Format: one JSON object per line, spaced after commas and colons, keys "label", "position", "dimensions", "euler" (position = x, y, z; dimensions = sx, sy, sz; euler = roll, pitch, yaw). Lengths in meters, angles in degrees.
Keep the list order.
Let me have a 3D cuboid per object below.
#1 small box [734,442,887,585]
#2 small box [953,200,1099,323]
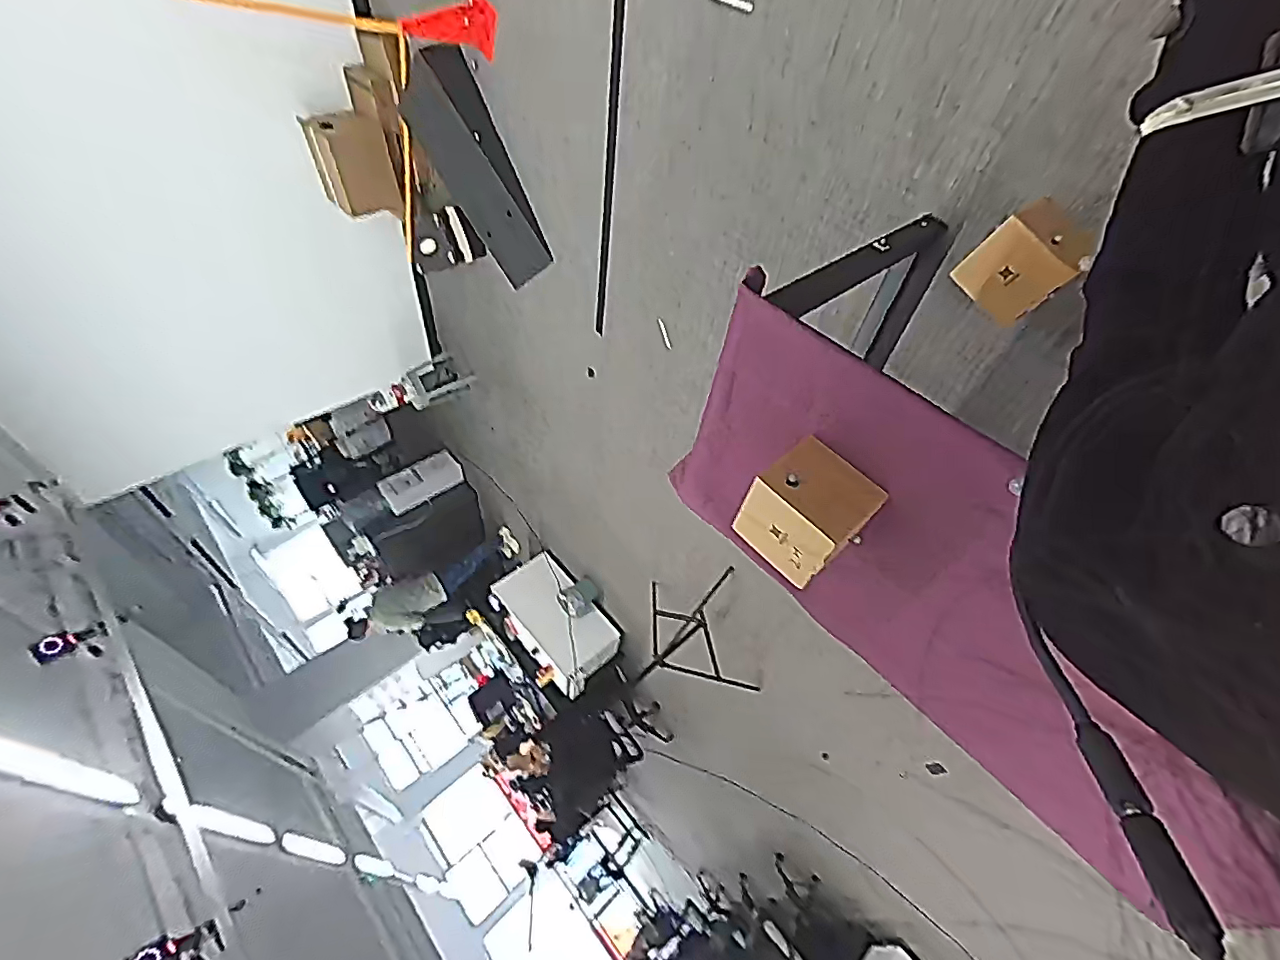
{"label": "small box", "position": [0.310, 0.053, 0.998], "dimensions": [0.179, 0.176, 0.168], "euler": [43, 149, 22]}
{"label": "small box", "position": [0.840, -0.481, 1.179], "dimensions": [0.179, 0.176, 0.168], "euler": [51, 149, 8]}
